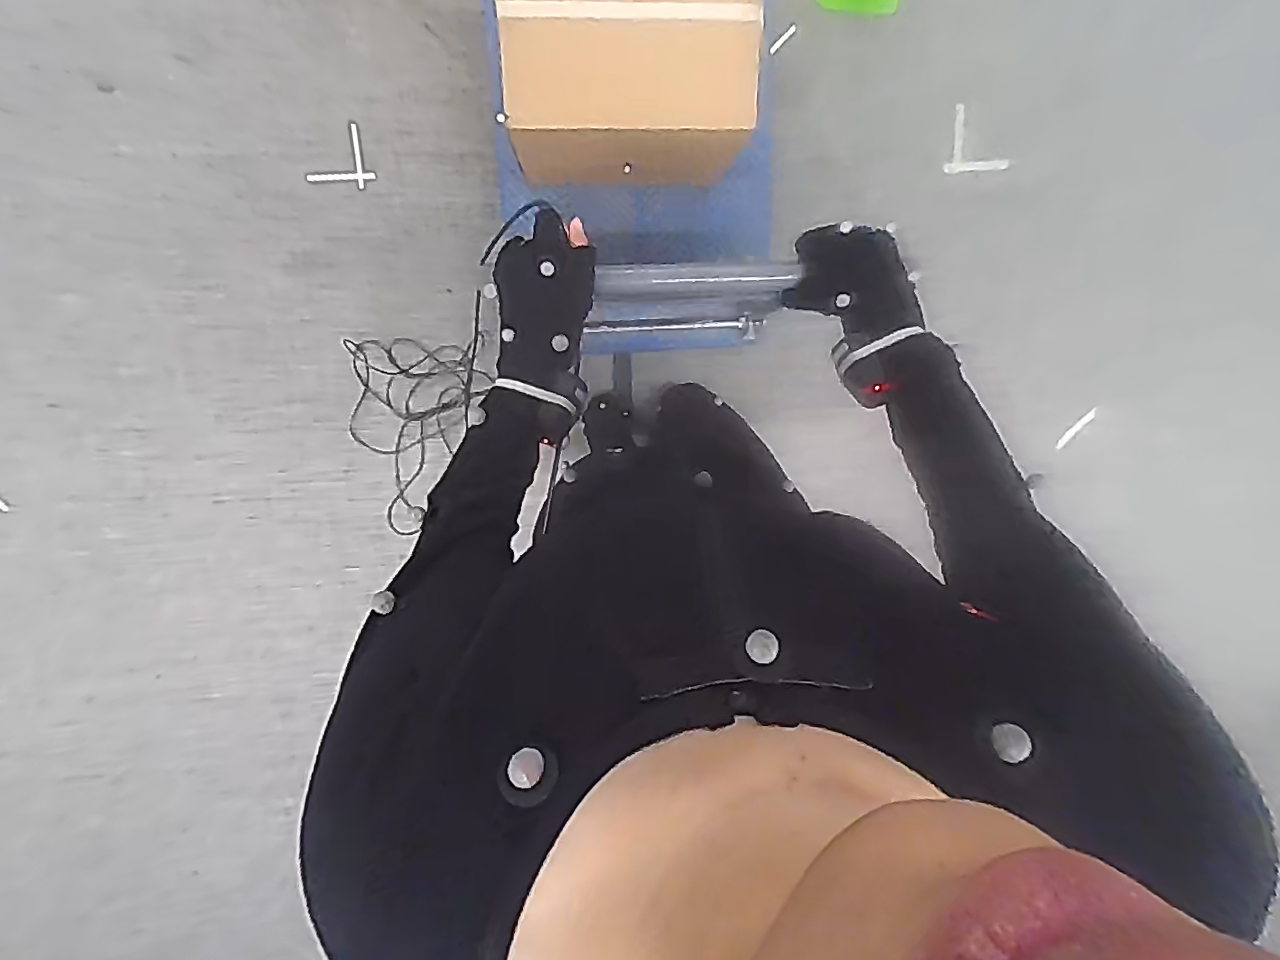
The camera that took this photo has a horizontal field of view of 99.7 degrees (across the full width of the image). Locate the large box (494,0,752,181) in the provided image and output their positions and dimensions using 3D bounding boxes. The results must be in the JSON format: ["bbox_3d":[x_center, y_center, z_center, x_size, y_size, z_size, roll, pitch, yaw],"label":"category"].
[{"bbox_3d":[-0.031,-0.751,0.974,0.408,0.320,0.320,-3,104,-4],"label":"large box"}]

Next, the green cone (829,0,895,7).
[{"bbox_3d":[0.523,-1.171,1.075,0.202,0.368,0.200,1,103,-7],"label":"green cone"}]
